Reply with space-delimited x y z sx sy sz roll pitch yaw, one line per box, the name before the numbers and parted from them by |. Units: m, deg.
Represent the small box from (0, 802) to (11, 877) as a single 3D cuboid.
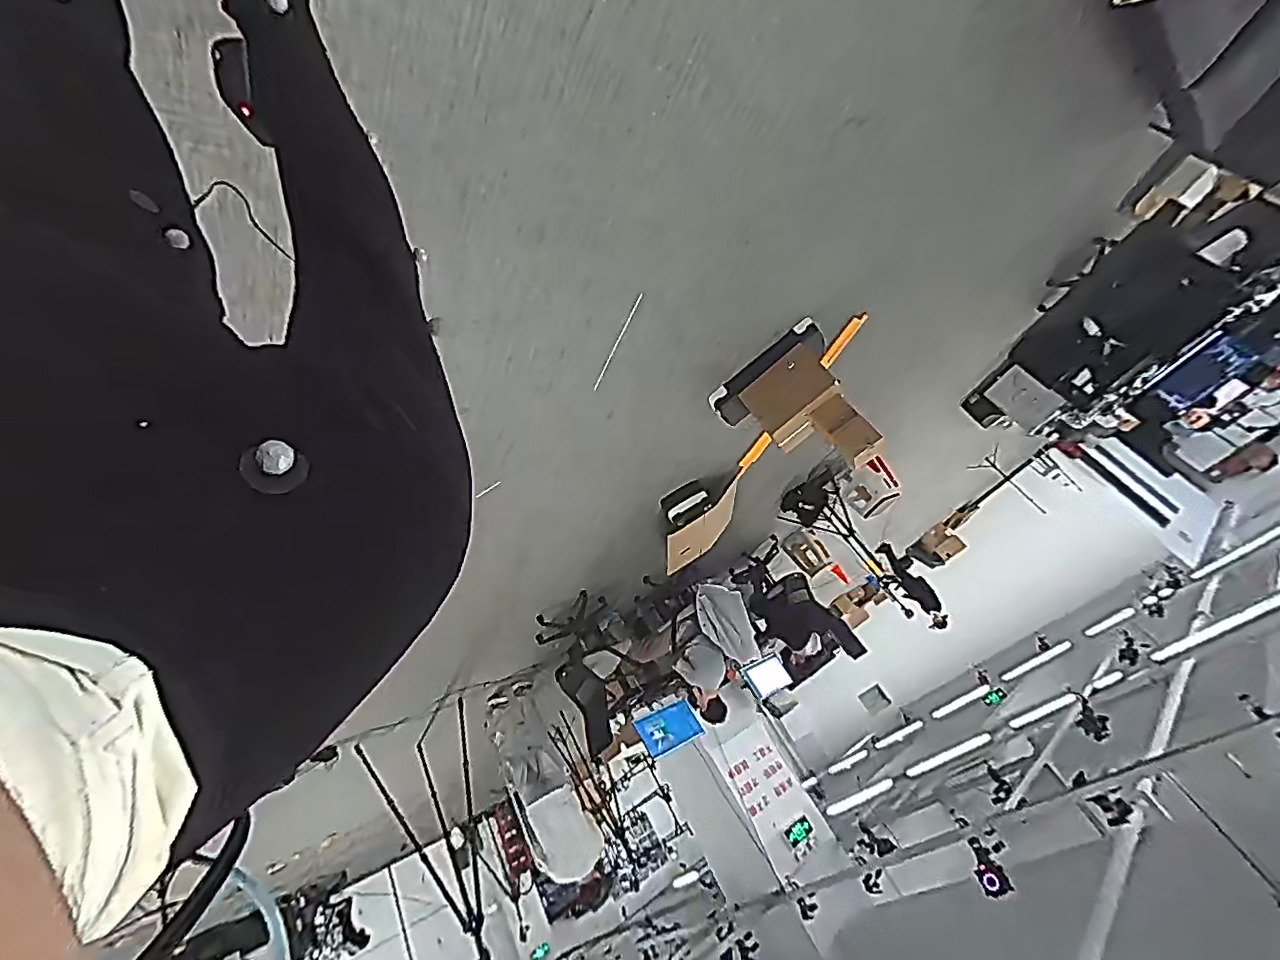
small box | -1.564 0.830 1.200 0.168 0.176 0.179 -18 149 -29
